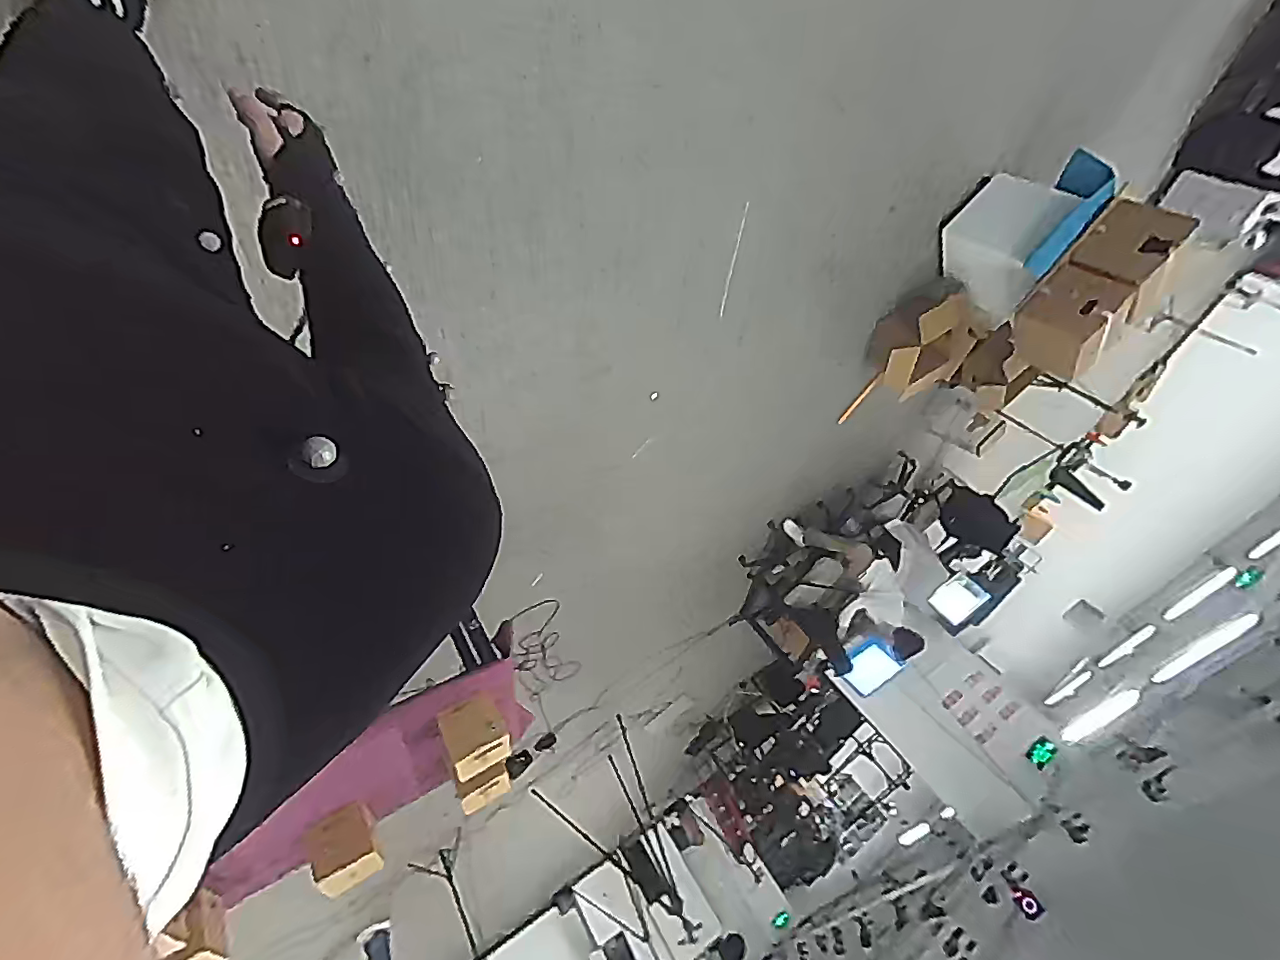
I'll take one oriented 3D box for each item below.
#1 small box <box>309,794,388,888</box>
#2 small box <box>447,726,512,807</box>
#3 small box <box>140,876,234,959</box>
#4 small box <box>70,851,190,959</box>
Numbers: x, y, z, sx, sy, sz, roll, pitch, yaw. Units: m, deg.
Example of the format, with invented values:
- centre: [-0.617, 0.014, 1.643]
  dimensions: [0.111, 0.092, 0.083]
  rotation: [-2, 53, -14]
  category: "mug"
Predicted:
- centre: [-0.916, 1.126, 1.699]
  dimensions: [0.168, 0.176, 0.179]
  rotation: [-20, 140, -27]
  category: "small box"
- centre: [-0.562, 0.995, 1.890]
  dimensions: [0.168, 0.176, 0.179]
  rotation: [-21, 141, -26]
  category: "small box"
- centre: [-1.260, 1.241, 1.493]
  dimensions: [0.168, 0.176, 0.179]
  rotation: [-19, 139, -29]
  category: "small box"
- centre: [-1.220, 1.039, 1.302]
  dimensions: [0.168, 0.176, 0.179]
  rotation: [-19, 140, -31]
  category: "small box"
